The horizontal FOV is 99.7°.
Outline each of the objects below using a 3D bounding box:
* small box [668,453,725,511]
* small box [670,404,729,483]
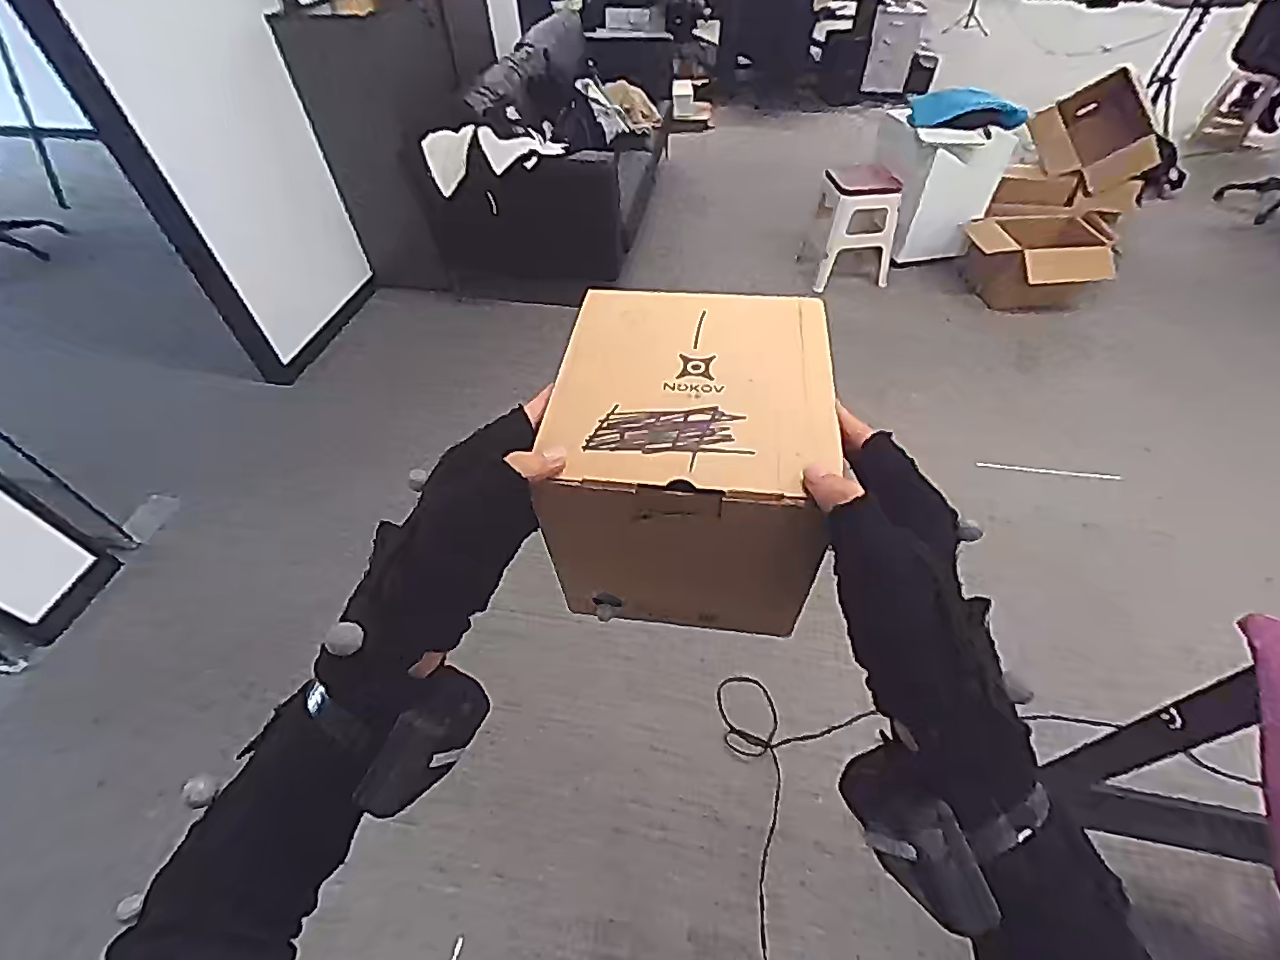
[{"bbox_3d":[0.194,-0.010,1.860,0.179,0.176,0.168,7,49,7],"label":"small box"},{"bbox_3d":[0.190,-0.118,1.736,0.168,0.176,0.179,7,48,8],"label":"small box"}]
